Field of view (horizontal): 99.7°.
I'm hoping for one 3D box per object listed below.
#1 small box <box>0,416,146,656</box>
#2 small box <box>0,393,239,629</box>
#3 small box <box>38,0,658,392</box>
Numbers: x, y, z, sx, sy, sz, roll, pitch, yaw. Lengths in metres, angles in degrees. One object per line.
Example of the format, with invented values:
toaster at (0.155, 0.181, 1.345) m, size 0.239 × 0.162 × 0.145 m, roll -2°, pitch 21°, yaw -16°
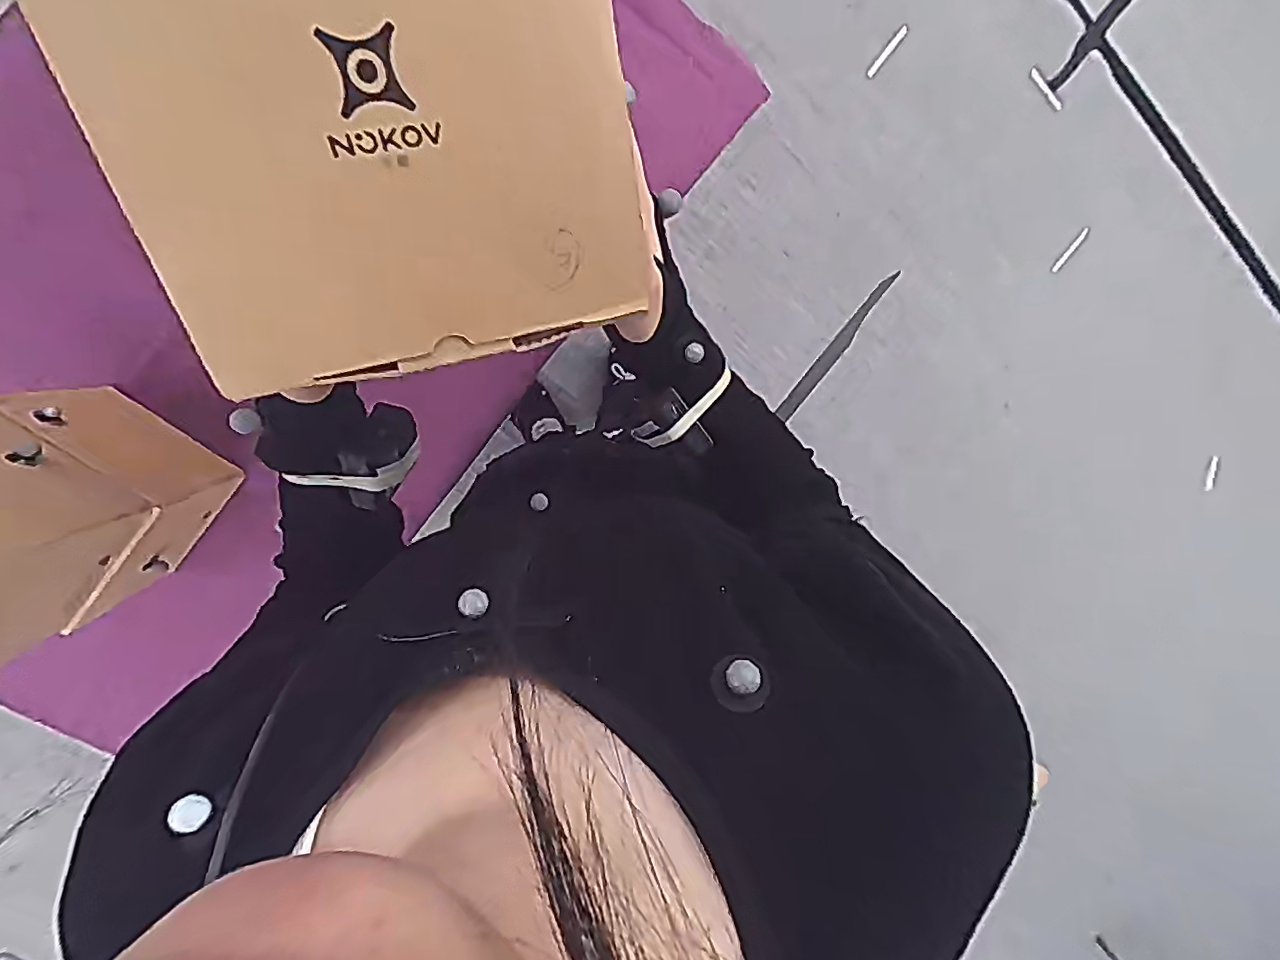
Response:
small box at (-0.569, 0.050, 0.424) m, size 0.179 × 0.176 × 0.168 m, roll 38°, pitch 94°, yaw -15°
small box at (-0.593, 0.019, 0.583) m, size 0.179 × 0.176 × 0.168 m, roll 38°, pitch 93°, yaw -15°
small box at (-0.102, -0.157, 0.243) m, size 0.168 × 0.176 × 0.179 m, roll -15°, pitch 115°, yaw -11°
